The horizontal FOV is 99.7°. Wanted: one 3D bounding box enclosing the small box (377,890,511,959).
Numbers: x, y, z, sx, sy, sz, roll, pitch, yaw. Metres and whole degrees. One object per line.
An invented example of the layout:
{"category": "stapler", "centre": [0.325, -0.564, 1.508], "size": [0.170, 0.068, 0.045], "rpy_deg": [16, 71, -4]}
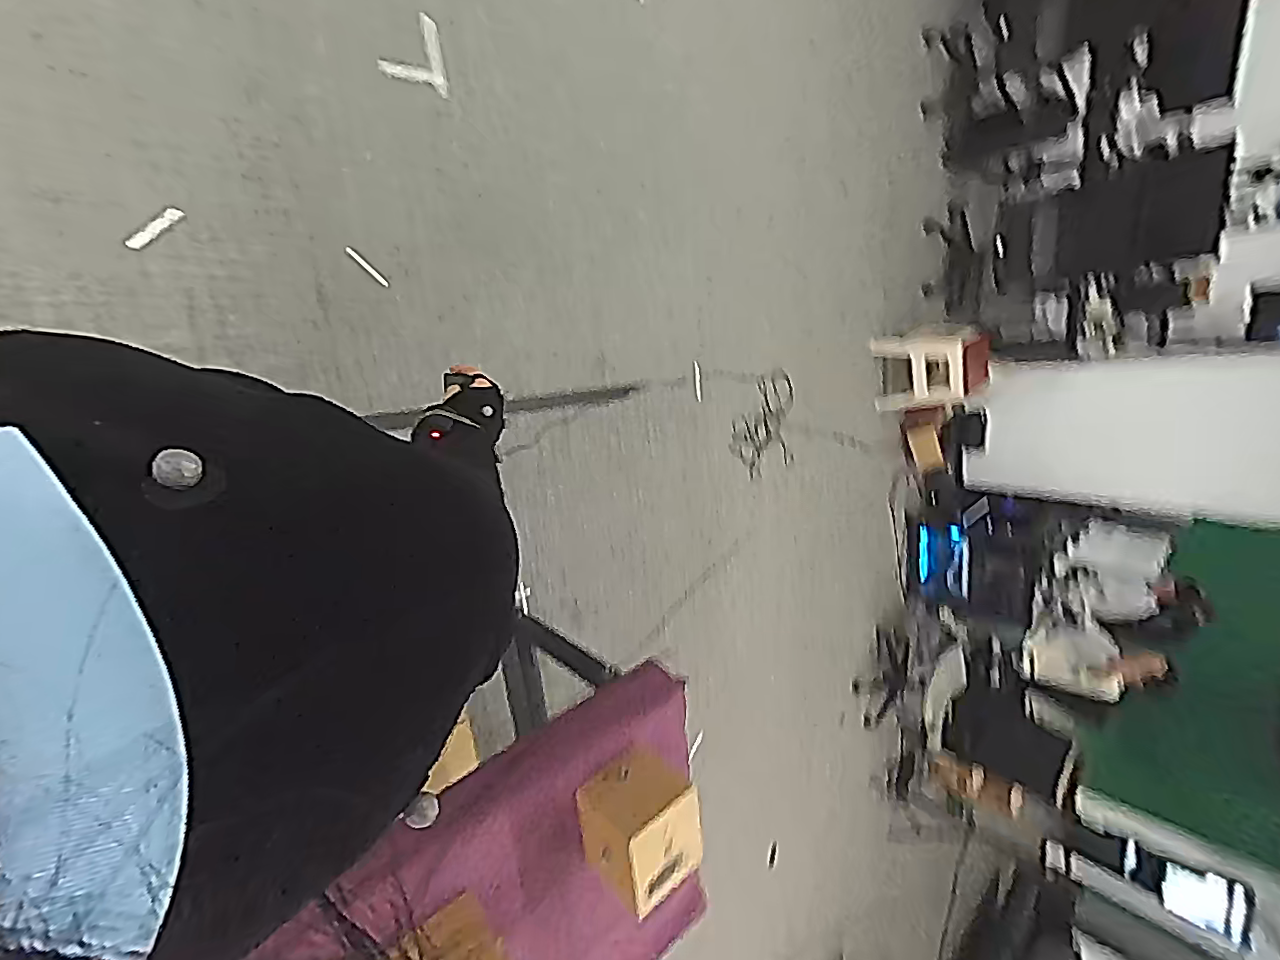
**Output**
{"category": "small box", "centre": [-0.292, 0.791, 0.816], "size": [0.179, 0.176, 0.168], "rpy_deg": [-19, 112, -38]}
